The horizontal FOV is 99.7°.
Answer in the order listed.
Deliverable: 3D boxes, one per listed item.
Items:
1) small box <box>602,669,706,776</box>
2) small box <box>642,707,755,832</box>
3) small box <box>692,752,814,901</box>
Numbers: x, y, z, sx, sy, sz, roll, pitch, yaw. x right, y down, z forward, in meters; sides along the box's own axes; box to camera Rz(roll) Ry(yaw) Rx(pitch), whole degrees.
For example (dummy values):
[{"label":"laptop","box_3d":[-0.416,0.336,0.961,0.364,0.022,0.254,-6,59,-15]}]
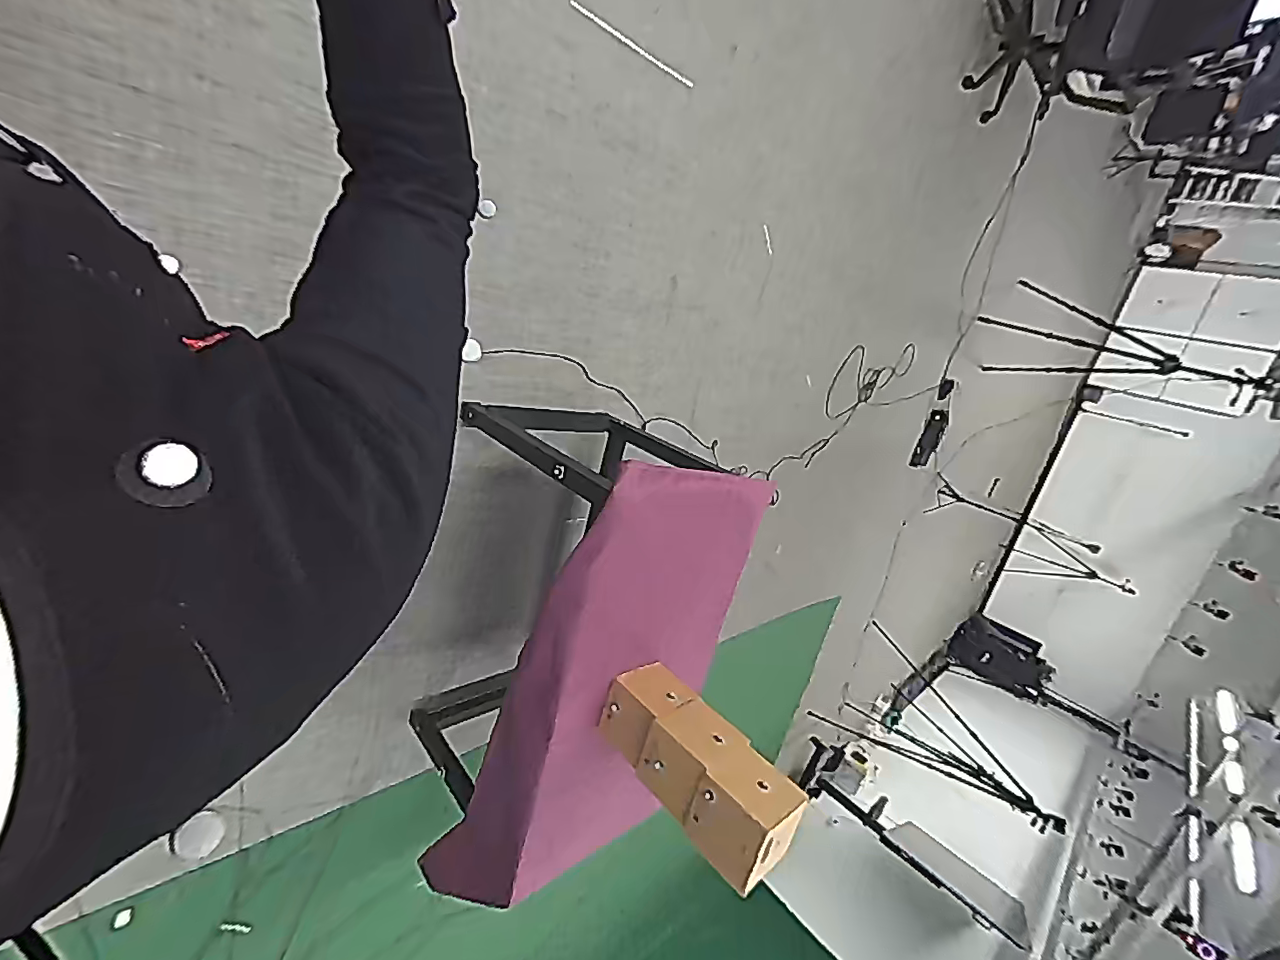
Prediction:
[{"label":"small box","box_3d":[0.035,0.612,1.388,0.179,0.176,0.168,3,107,-46]},{"label":"small box","box_3d":[0.134,0.665,1.269,0.179,0.176,0.168,1,108,-46]},{"label":"small box","box_3d":[0.237,0.725,1.155,0.179,0.176,0.168,2,109,-47]}]
